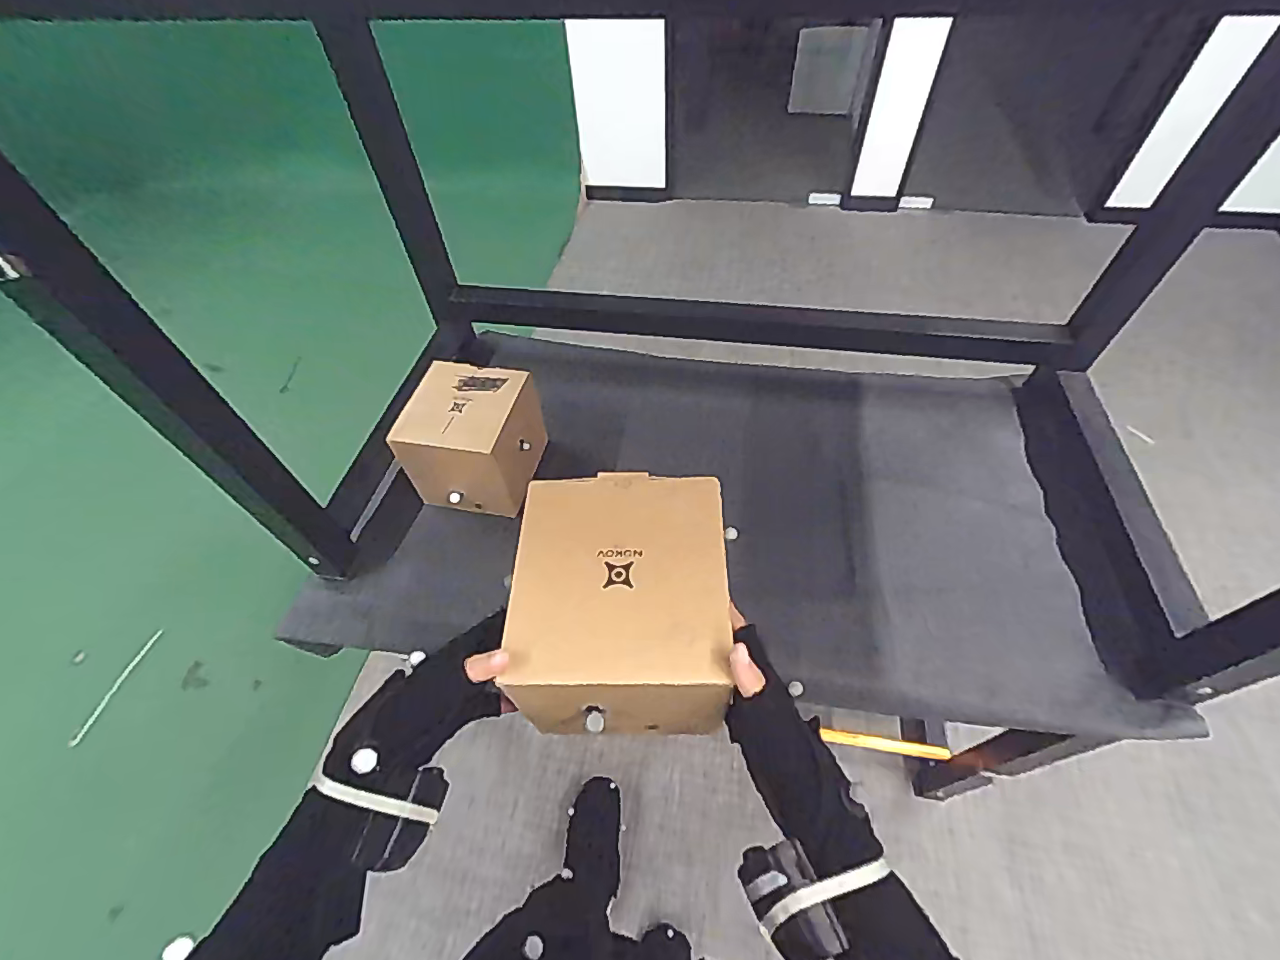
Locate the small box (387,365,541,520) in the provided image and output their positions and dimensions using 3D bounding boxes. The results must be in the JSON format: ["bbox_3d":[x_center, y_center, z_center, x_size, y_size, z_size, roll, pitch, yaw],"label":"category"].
[{"bbox_3d":[-0.271,-0.060,0.884,0.168,0.176,0.179,8,54,8],"label":"small box"}]

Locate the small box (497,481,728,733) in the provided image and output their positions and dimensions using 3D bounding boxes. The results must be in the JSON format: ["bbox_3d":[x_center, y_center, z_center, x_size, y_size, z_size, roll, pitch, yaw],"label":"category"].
[{"bbox_3d":[-0.014,0.120,0.485,0.168,0.176,0.179,-1,53,2],"label":"small box"}]
